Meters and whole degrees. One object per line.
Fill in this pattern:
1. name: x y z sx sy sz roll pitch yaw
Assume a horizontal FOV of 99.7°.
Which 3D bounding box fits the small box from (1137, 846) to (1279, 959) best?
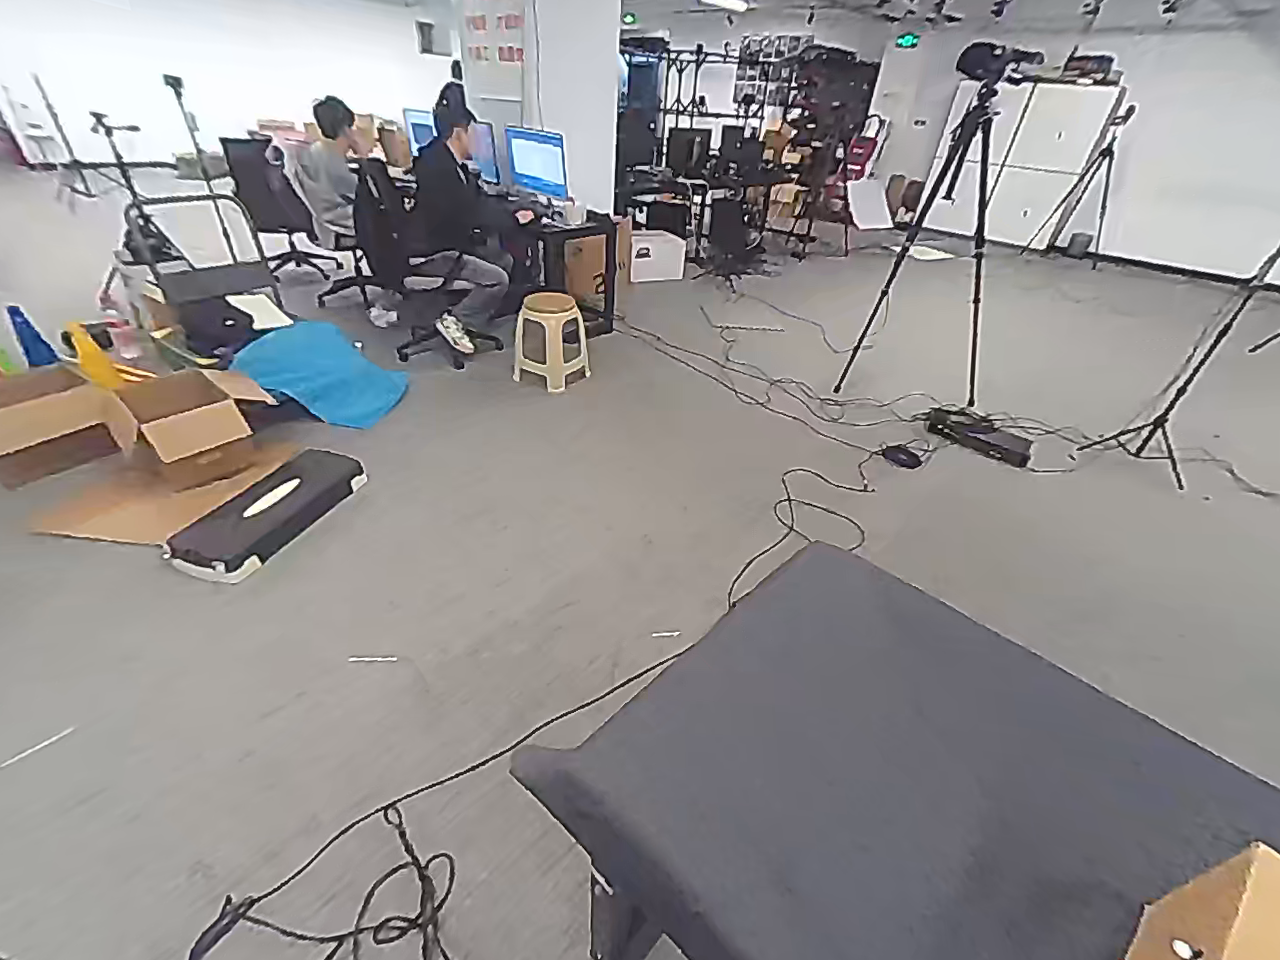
1. small box: 0.531 0.451 0.430 0.179 0.176 0.168 -21 43 -31
